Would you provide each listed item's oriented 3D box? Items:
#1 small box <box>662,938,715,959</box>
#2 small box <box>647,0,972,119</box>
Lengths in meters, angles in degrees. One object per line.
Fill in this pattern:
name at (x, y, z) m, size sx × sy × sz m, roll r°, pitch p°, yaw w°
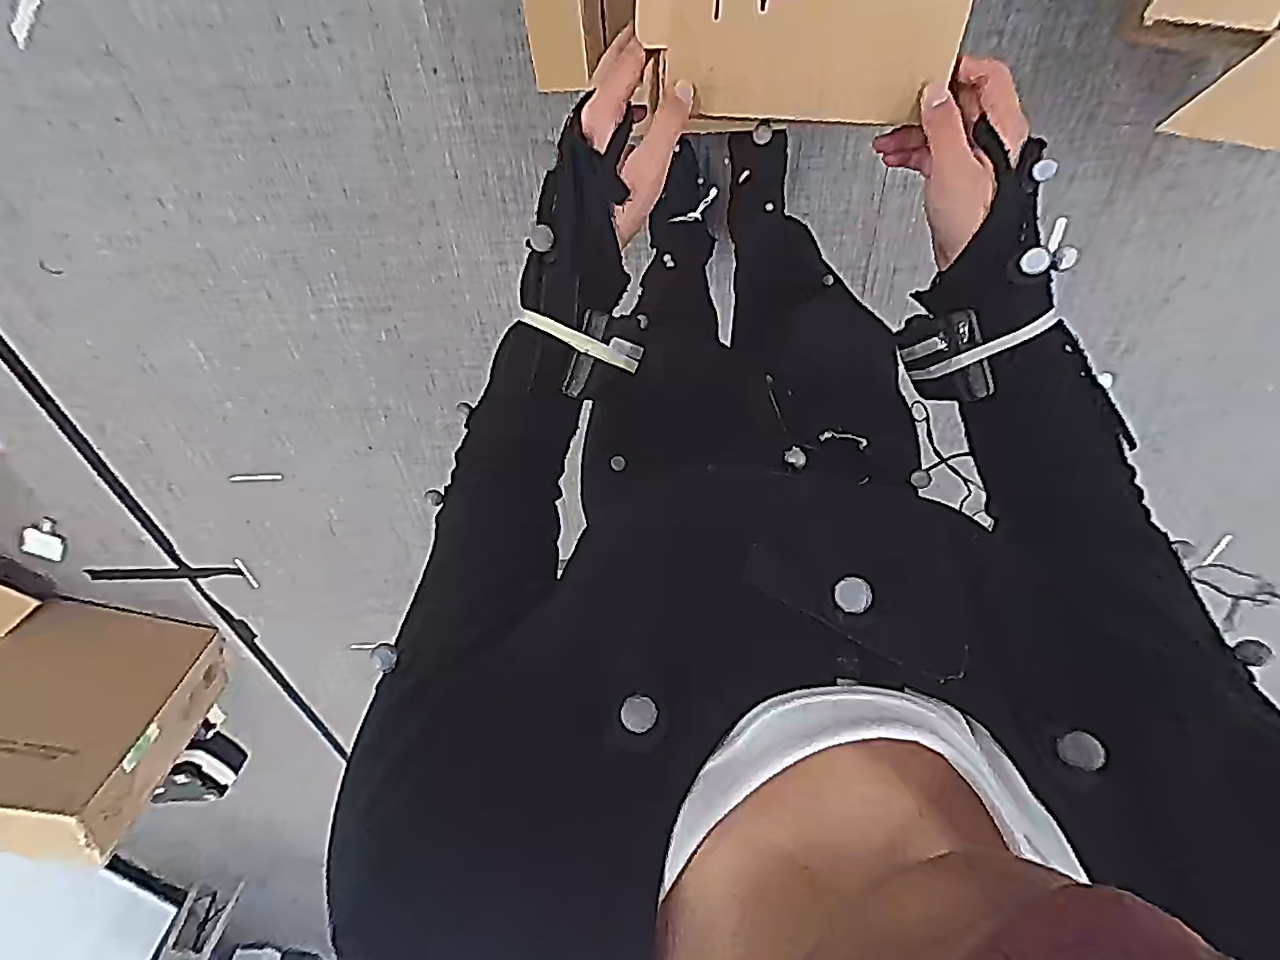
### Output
small box at (0.163, 1.658, 1.803) m, size 0.179 × 0.176 × 0.168 m, roll -2°, pitch 127°, yaw 2°
small box at (0.097, -0.337, 0.349) m, size 0.179 × 0.176 × 0.168 m, roll 0°, pitch 124°, yaw -4°
